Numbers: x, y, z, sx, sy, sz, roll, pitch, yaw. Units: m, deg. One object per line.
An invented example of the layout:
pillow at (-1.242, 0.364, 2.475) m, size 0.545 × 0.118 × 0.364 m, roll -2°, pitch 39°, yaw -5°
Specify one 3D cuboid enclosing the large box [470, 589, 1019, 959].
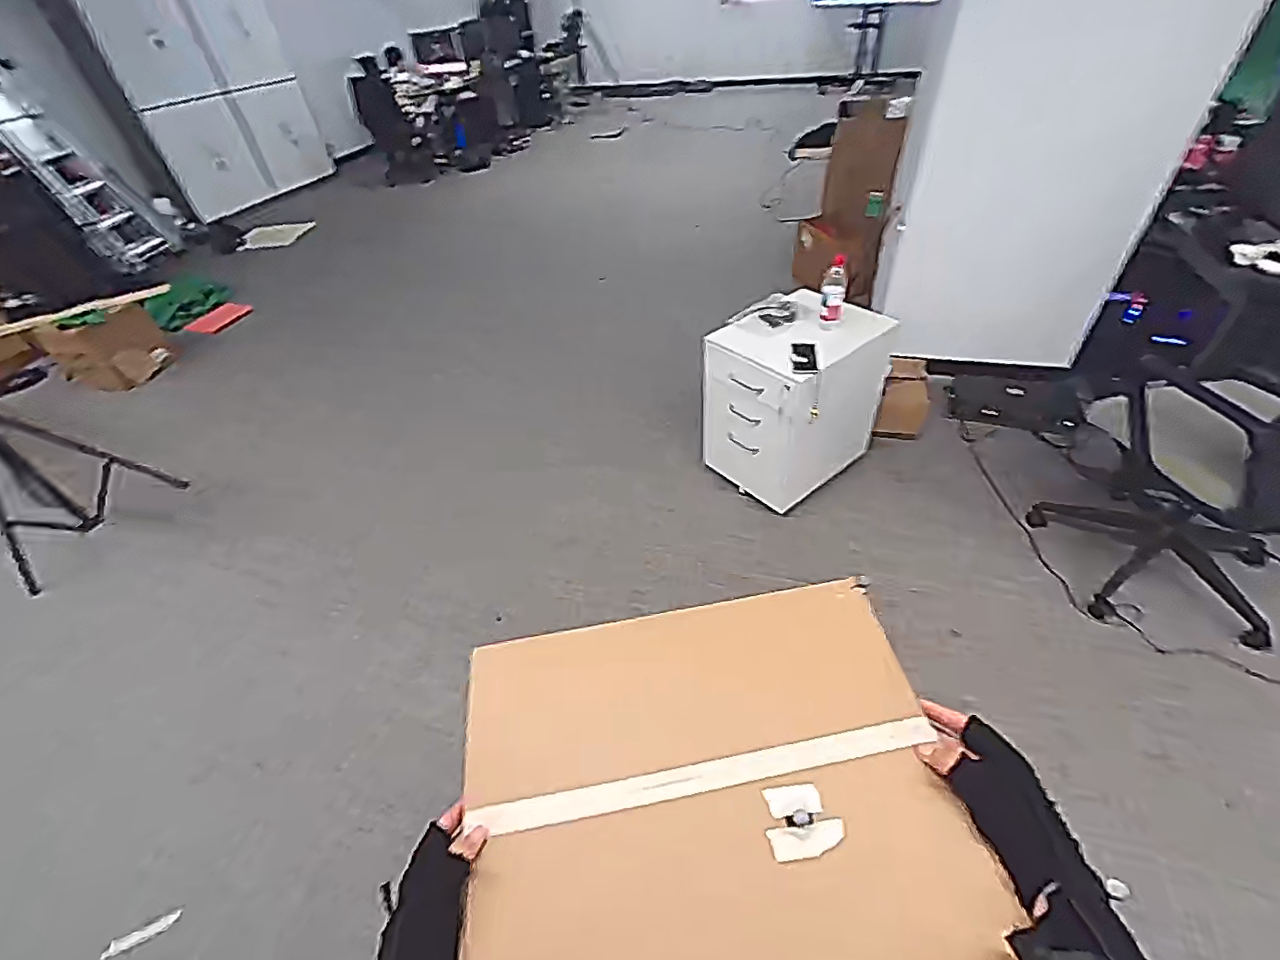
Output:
large box at (0.060, 0.365, 0.578) m, size 0.408 × 0.320 × 0.320 m, roll -11°, pitch 49°, yaw -5°
